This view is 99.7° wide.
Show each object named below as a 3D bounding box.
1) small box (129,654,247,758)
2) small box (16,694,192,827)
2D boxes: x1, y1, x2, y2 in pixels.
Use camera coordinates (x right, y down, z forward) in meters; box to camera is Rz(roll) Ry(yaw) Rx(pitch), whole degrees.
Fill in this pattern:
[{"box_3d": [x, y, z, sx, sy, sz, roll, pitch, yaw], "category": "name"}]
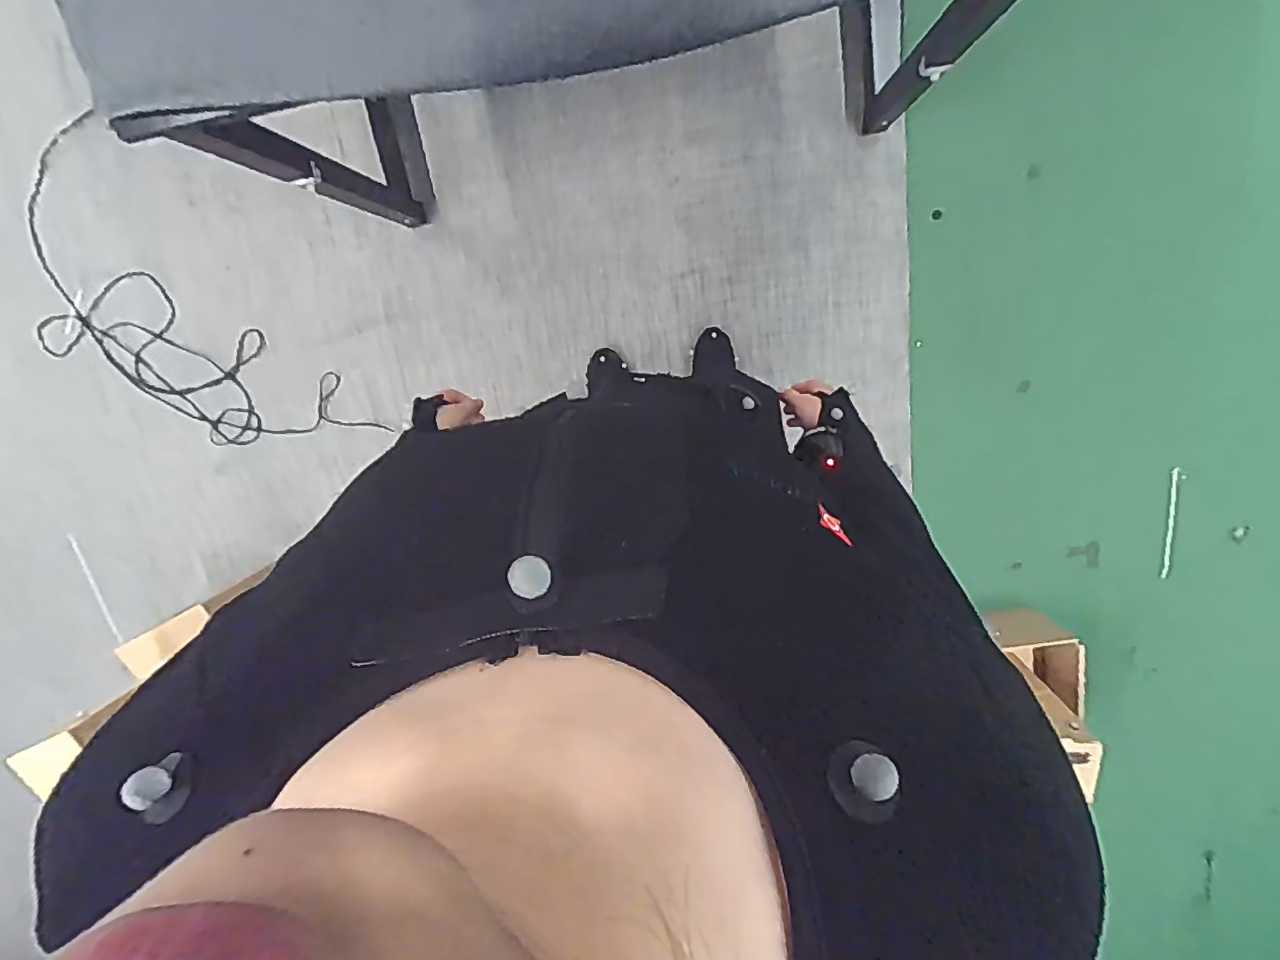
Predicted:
[{"box_3d": [-1.134, 0.568, 1.335, 0.168, 0.176, 0.179, -26, 101, 9], "category": "small box"}, {"box_3d": [-1.149, 0.597, 1.175, 0.168, 0.176, 0.179, -26, 102, 9], "category": "small box"}]
